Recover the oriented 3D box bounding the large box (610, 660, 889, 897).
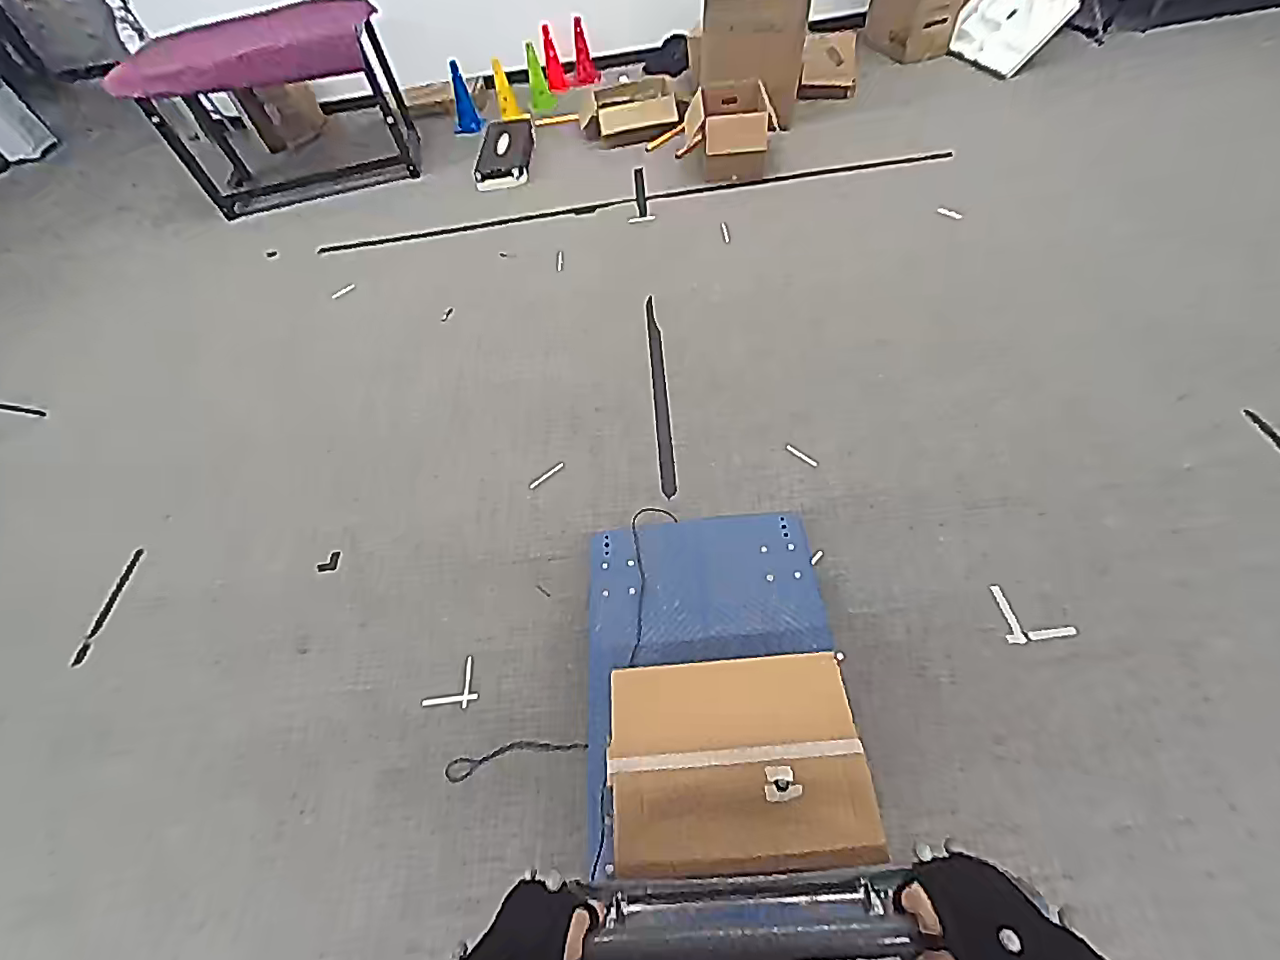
[{"bbox_3d":[0.167,0.551,0.989,0.408,0.320,0.320,-6,53,3],"label":"large box"}]
